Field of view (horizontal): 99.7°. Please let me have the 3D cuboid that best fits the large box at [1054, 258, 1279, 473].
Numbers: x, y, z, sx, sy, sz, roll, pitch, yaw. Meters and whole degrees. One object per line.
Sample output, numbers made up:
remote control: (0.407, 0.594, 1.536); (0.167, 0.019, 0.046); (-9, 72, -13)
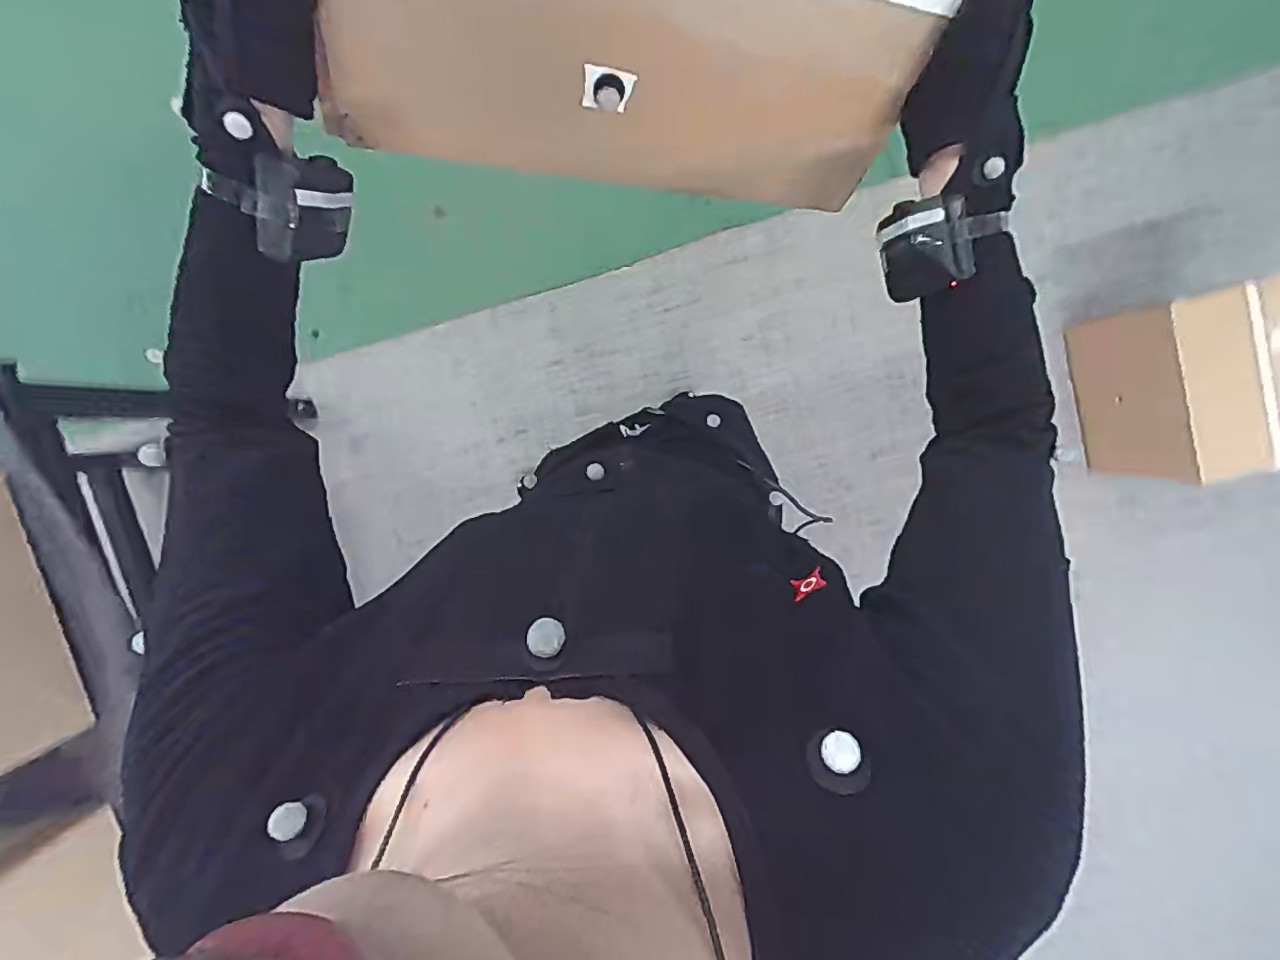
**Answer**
large box: (1.295, -0.256, 1.305); (0.320, 0.320, 0.408); (-15, 94, 3)
